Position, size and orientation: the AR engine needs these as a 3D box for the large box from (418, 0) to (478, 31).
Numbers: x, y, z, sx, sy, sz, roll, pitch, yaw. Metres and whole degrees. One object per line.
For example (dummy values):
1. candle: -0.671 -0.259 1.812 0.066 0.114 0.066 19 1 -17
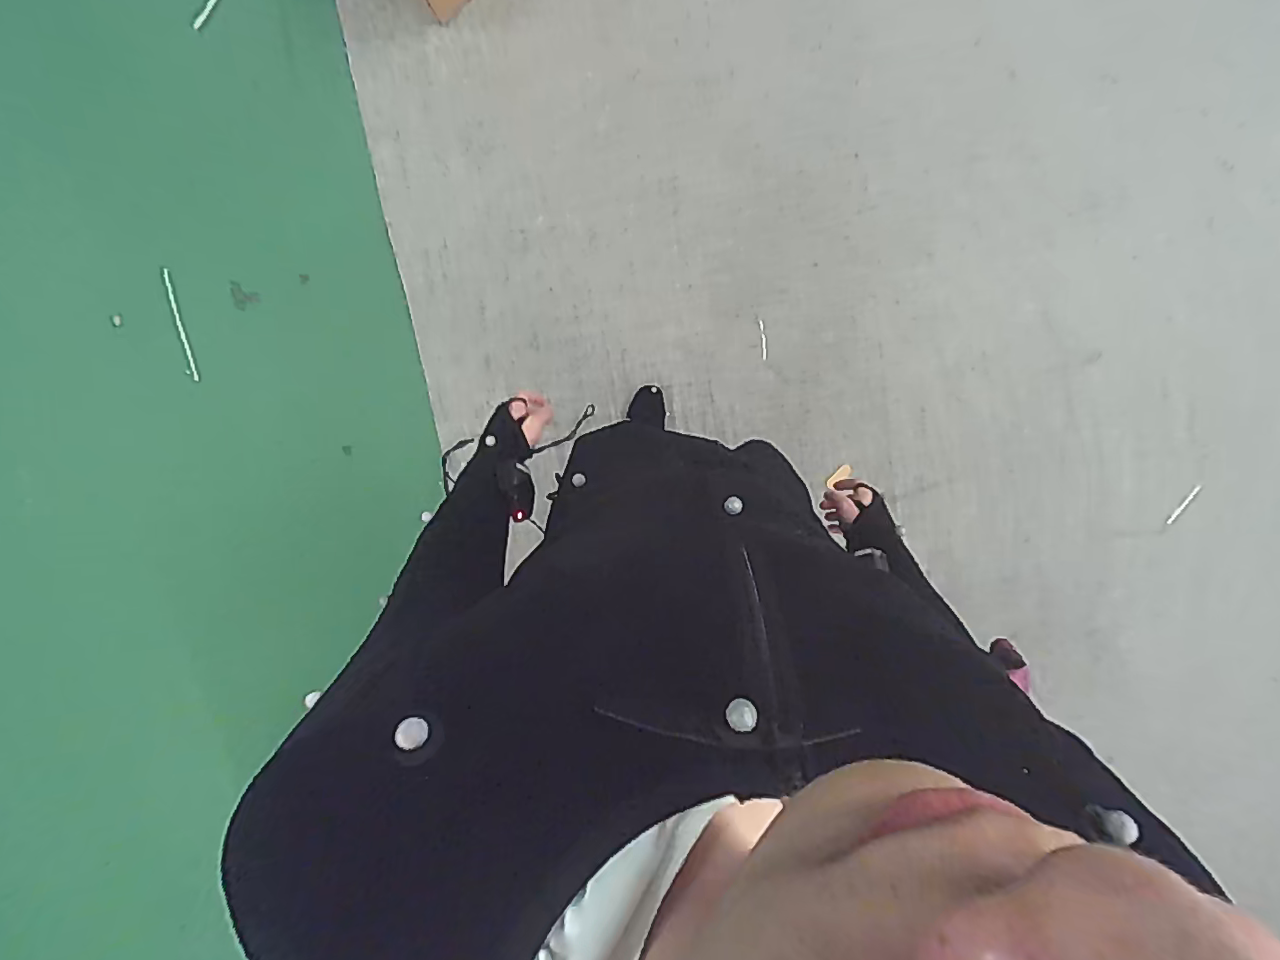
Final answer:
1. large box: -0.470 -1.403 1.249 0.408 0.320 0.320 -42 96 7
